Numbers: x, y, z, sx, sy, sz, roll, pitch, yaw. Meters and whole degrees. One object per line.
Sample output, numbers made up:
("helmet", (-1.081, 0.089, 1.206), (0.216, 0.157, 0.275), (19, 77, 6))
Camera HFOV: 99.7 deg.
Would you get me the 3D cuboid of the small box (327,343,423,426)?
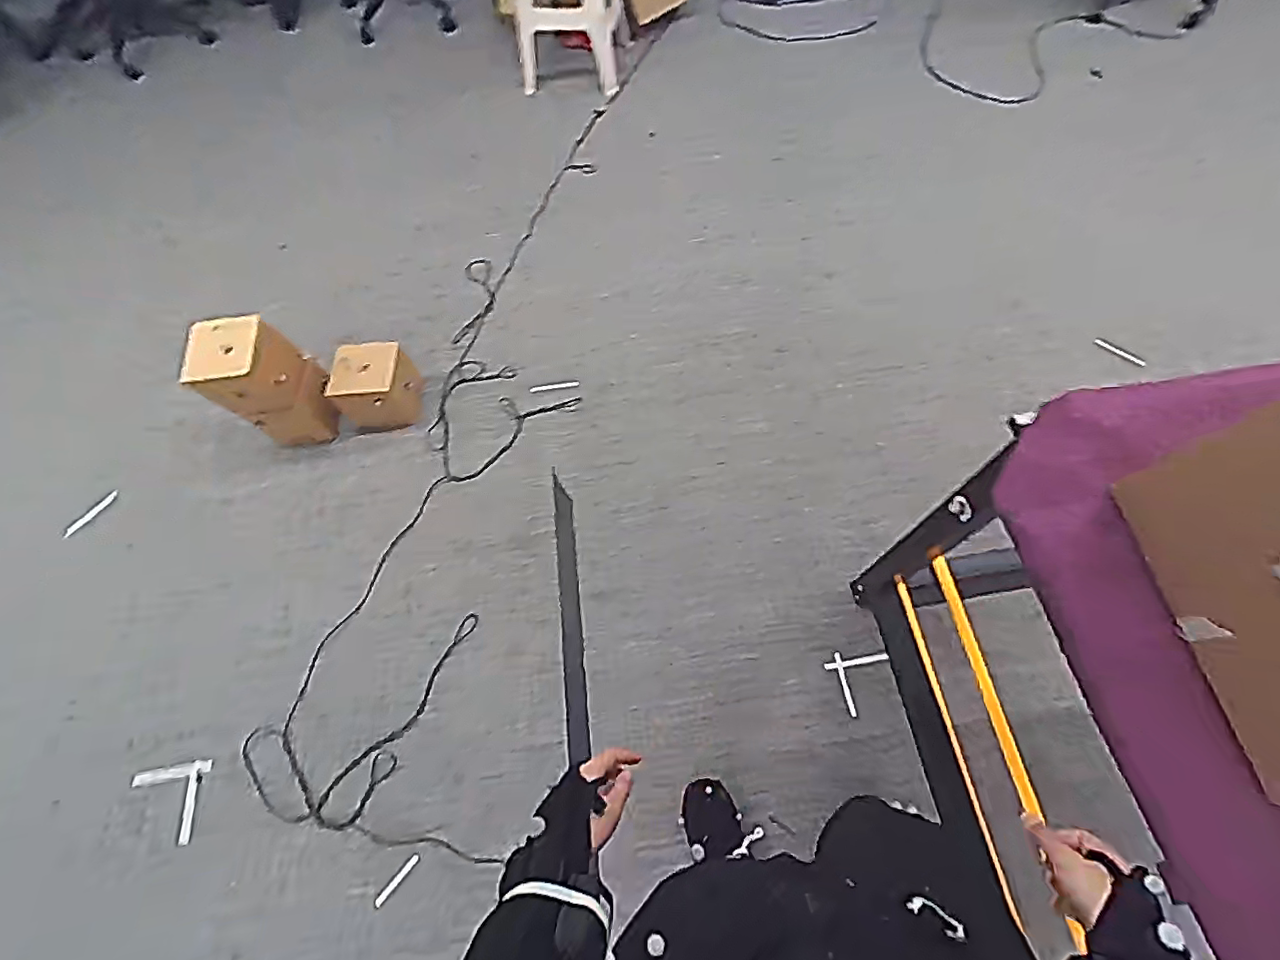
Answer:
("small box", (-0.734, -0.264, 1.522), (0.179, 0.176, 0.168), (-3, 64, 3))
